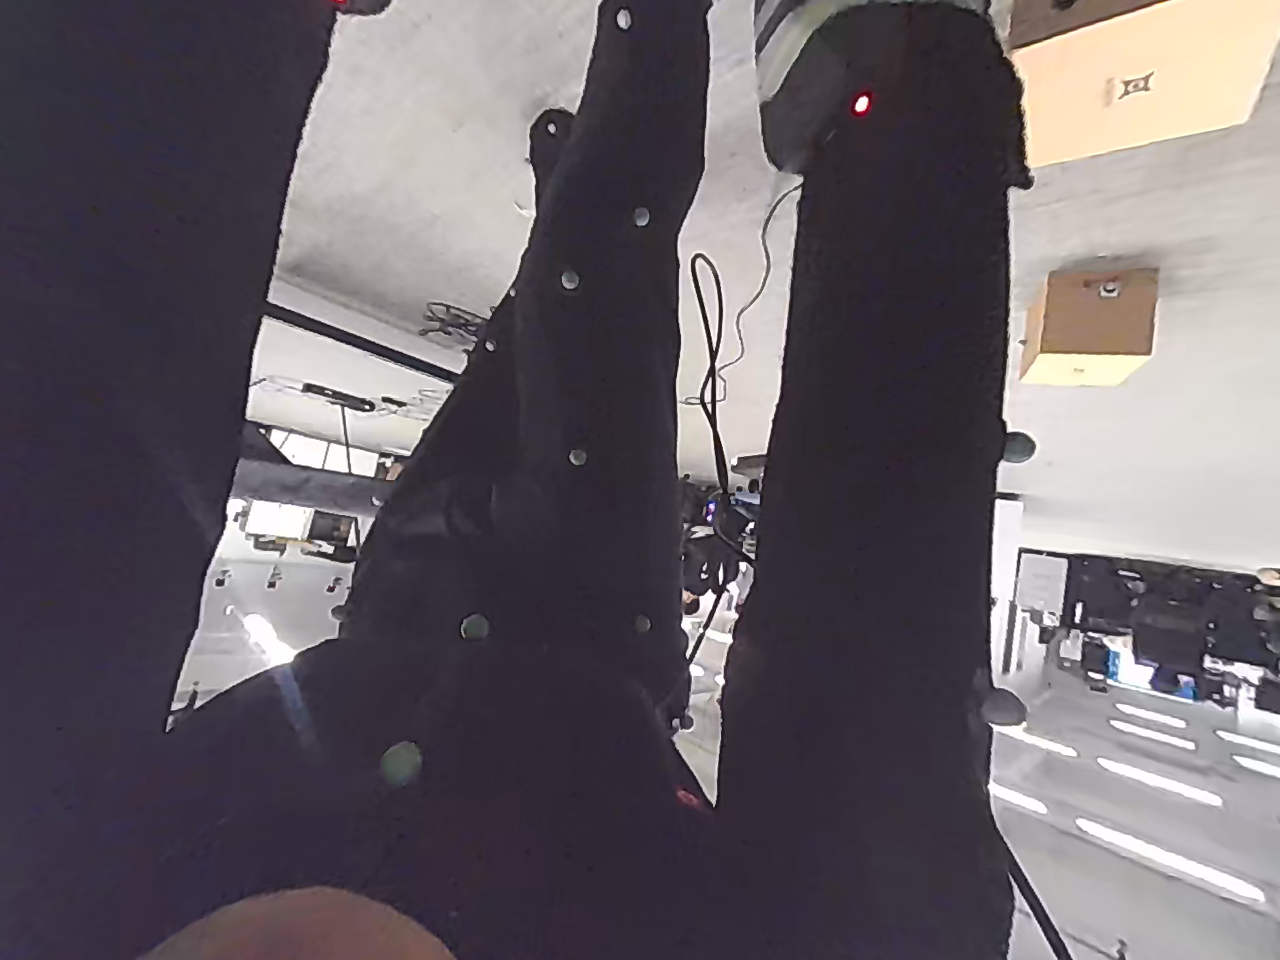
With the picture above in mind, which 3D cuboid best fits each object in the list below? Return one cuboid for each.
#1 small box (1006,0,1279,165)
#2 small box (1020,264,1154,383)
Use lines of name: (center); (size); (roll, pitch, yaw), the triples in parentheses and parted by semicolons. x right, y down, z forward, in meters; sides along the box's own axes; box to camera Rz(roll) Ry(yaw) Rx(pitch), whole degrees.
small box: (0.448, -0.433, 0.487); (0.179, 0.176, 0.168); (7, 173, 39)
small box: (0.867, -0.300, 1.057); (0.168, 0.176, 0.179); (6, 172, 26)
